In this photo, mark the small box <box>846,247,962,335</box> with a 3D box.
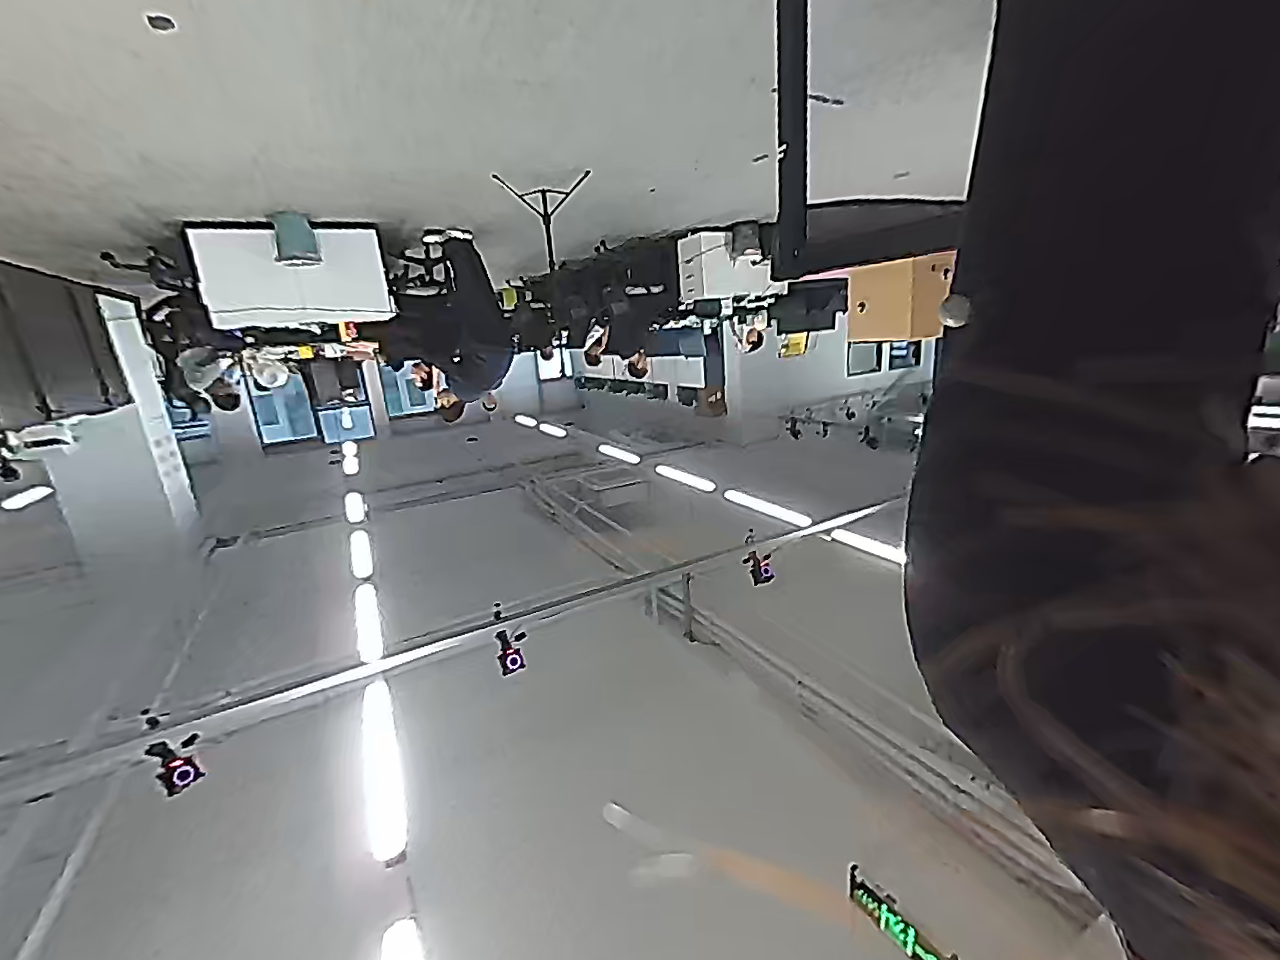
[{"bbox_3d":[0.582,-0.416,1.197,0.168,0.176,0.179,-14,-161,-21],"label":"small box"}]
